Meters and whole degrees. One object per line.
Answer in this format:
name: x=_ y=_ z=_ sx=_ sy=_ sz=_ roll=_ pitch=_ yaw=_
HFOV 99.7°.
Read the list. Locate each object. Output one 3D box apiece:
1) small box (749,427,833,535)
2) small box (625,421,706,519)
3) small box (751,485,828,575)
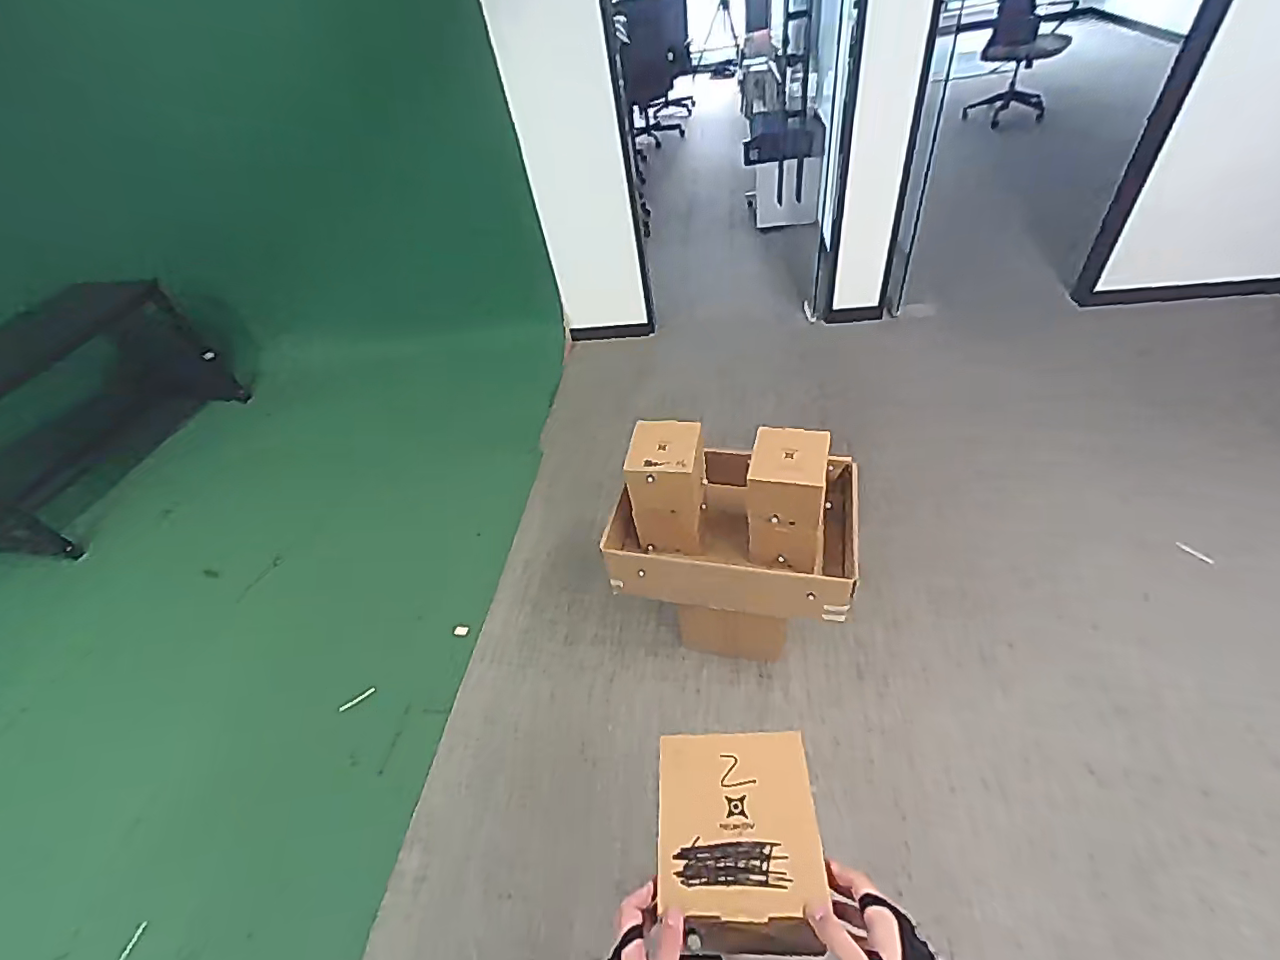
small box: x=0.350 y=0.001 z=1.266 sx=0.168 sy=0.176 sz=0.179 roll=7 pitch=48 yaw=18
small box: x=0.071 y=-0.026 z=1.346 sx=0.168 sy=0.176 sz=0.179 roll=2 pitch=47 yaw=14
small box: x=0.378 y=0.113 z=1.381 sx=0.168 sy=0.176 sz=0.179 roll=8 pitch=49 yaw=19
